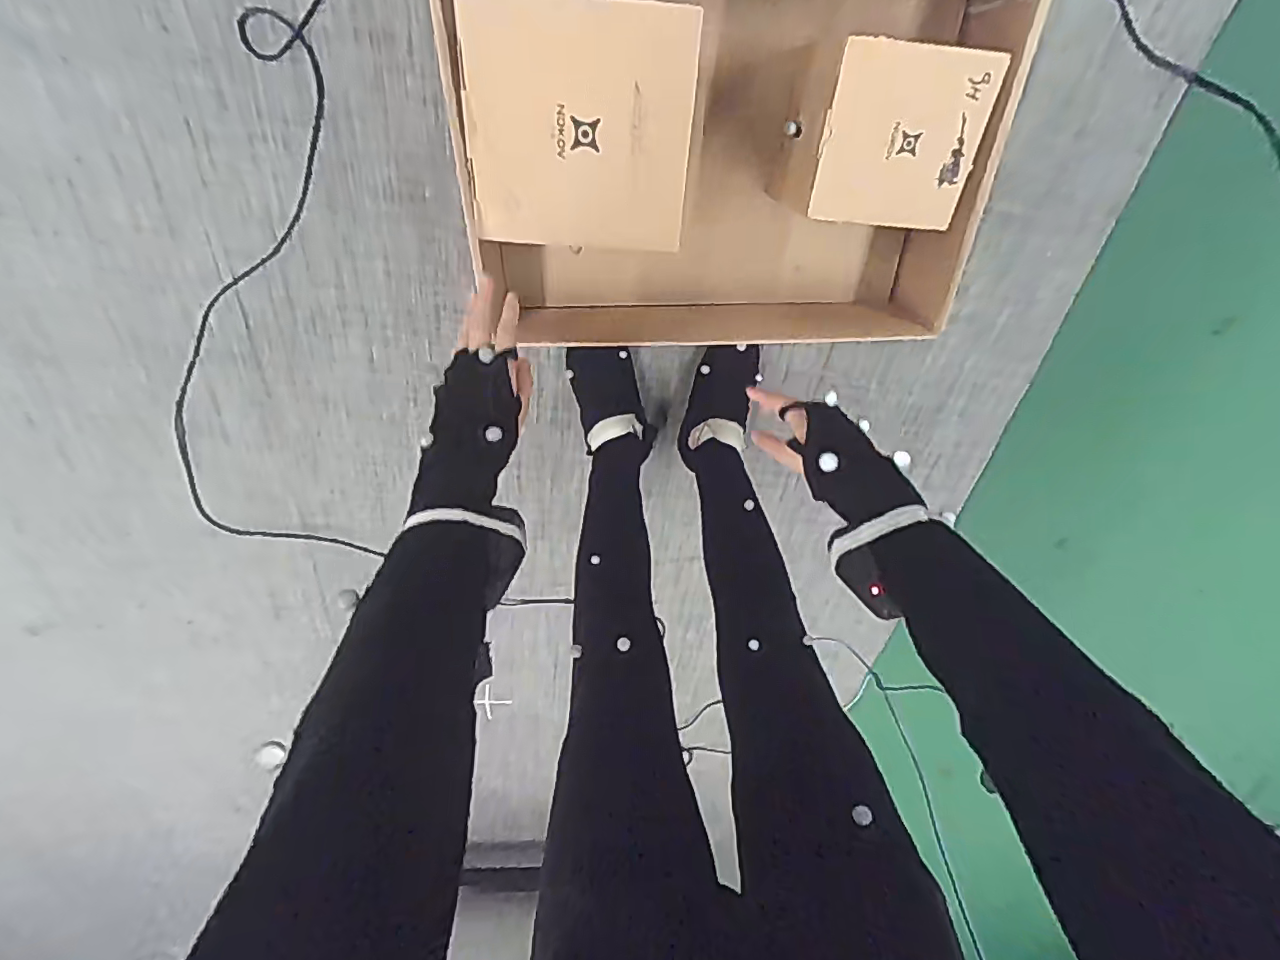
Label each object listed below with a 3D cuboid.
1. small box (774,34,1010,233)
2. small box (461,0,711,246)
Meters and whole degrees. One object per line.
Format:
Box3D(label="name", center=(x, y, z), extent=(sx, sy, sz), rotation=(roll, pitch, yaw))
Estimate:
Box3D(label="small box", center=(0.275, -0.406, 0.645), extent=(0.179, 0.176, 0.168), rotation=(3, 124, -6))
Box3D(label="small box", center=(-0.048, -0.319, 0.482), extent=(0.179, 0.176, 0.168), rotation=(2, 125, -7))
